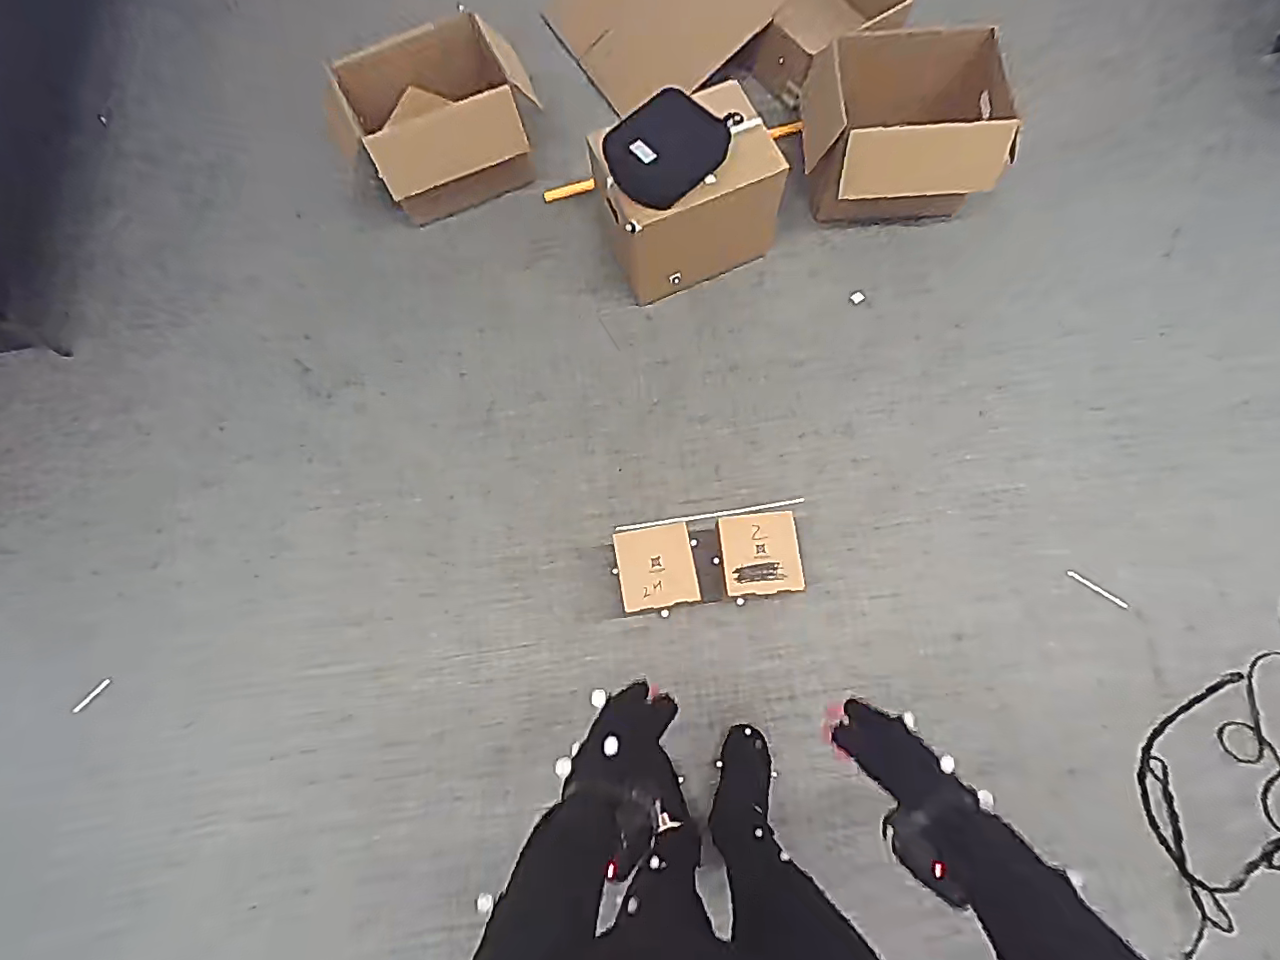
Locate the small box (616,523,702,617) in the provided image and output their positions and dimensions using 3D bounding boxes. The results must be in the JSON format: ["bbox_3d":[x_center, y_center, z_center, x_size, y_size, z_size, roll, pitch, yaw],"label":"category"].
[{"bbox_3d":[0.044,0.213,1.247,0.168,0.176,0.179,-11,73,1],"label":"small box"}]
